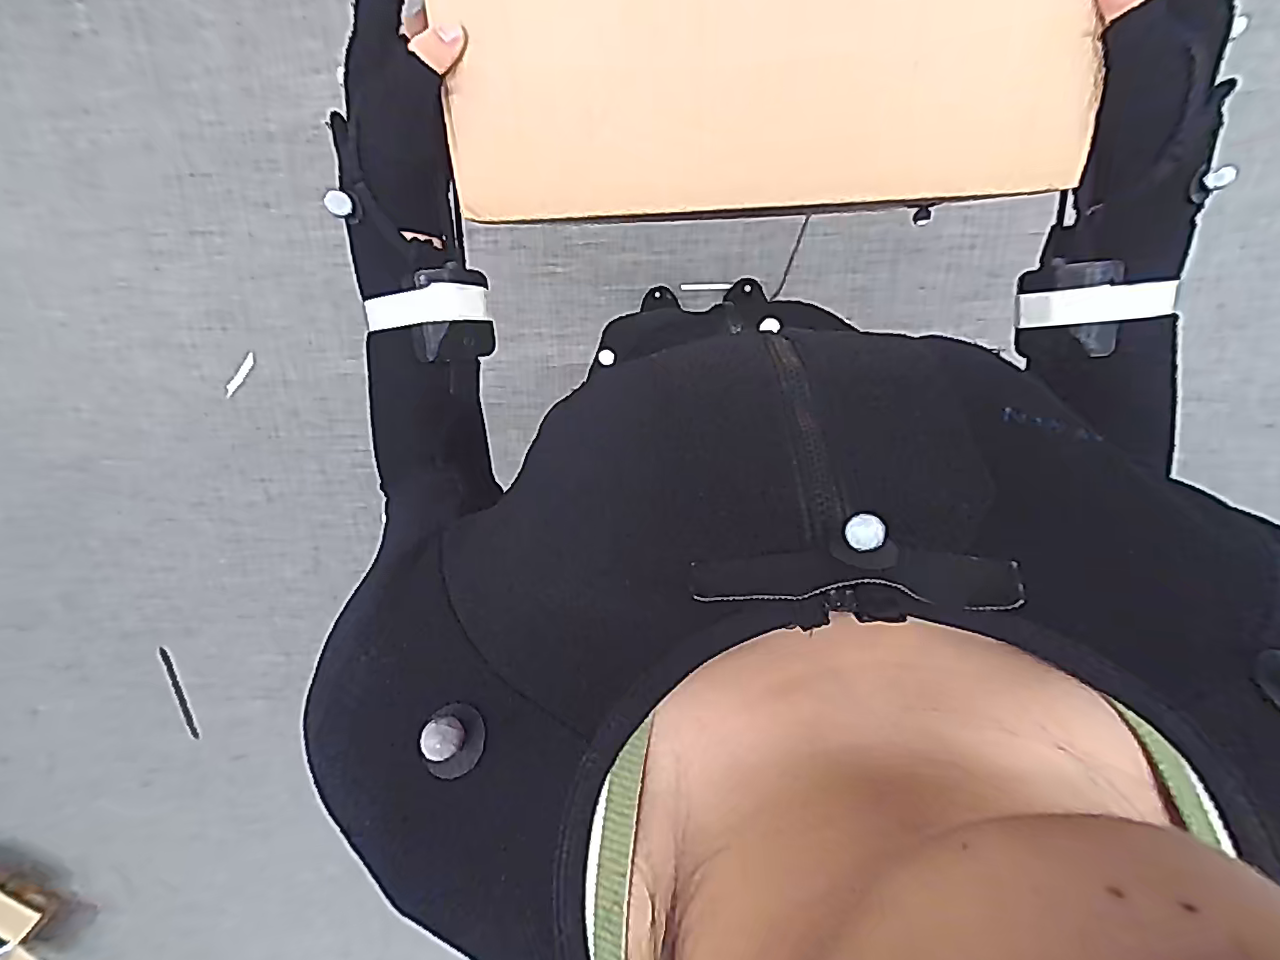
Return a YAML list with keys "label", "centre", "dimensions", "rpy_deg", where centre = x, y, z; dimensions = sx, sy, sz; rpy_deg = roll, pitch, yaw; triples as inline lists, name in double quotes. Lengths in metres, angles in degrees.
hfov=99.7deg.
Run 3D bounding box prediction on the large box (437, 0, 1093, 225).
- label: "large box"
  centre: [0.079, -0.394, 0.444]
  dimensions: [0.408, 0.320, 0.320]
  rpy_deg: [-1, 115, 4]
